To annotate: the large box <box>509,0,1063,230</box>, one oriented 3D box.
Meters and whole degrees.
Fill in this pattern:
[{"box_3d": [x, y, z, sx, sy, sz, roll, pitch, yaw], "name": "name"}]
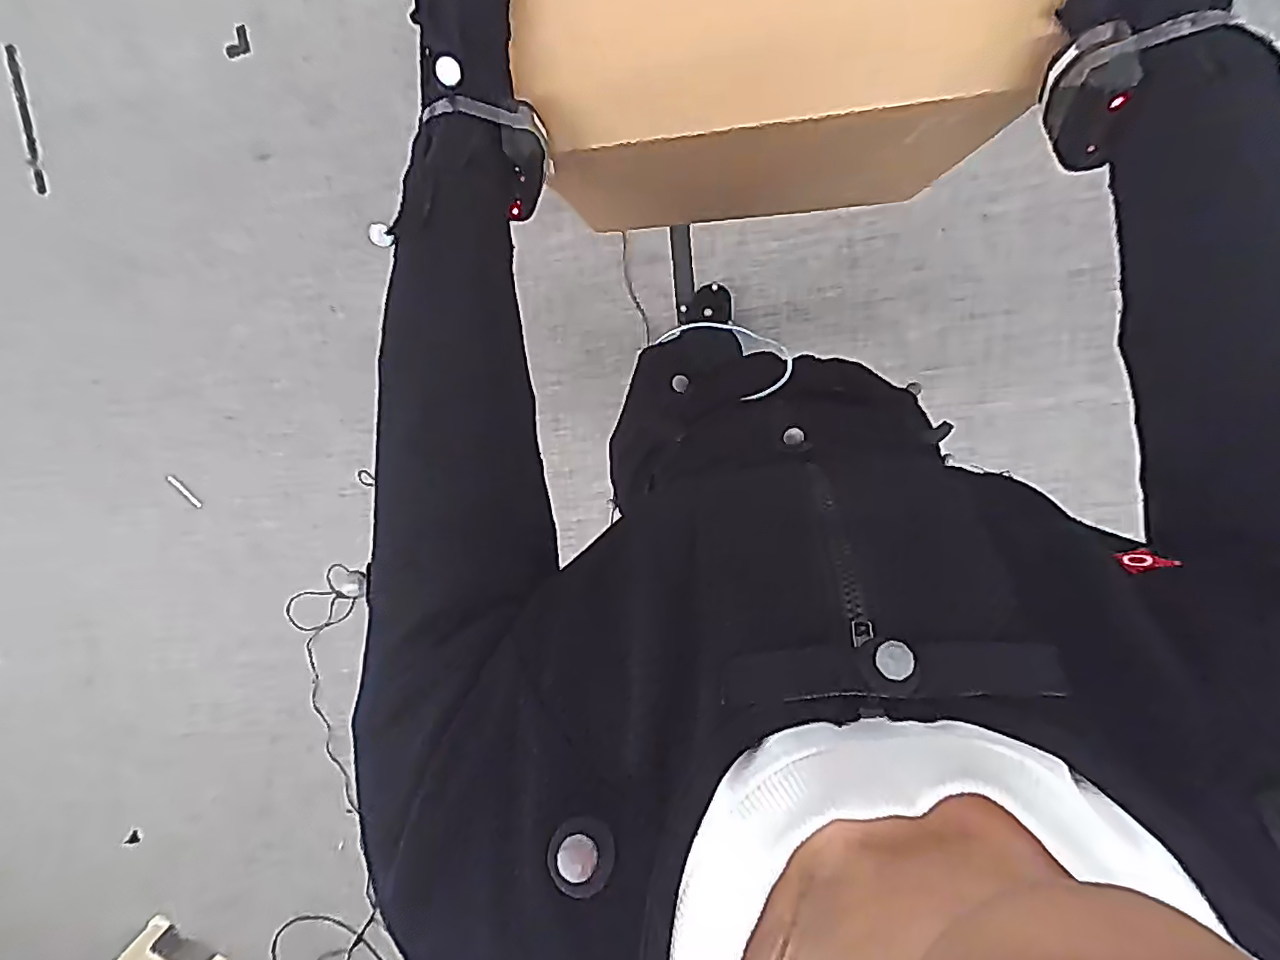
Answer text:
[{"box_3d": [0.105, -0.462, 0.524, 0.408, 0.320, 0.320, -3, 104, 7], "name": "large box"}]
